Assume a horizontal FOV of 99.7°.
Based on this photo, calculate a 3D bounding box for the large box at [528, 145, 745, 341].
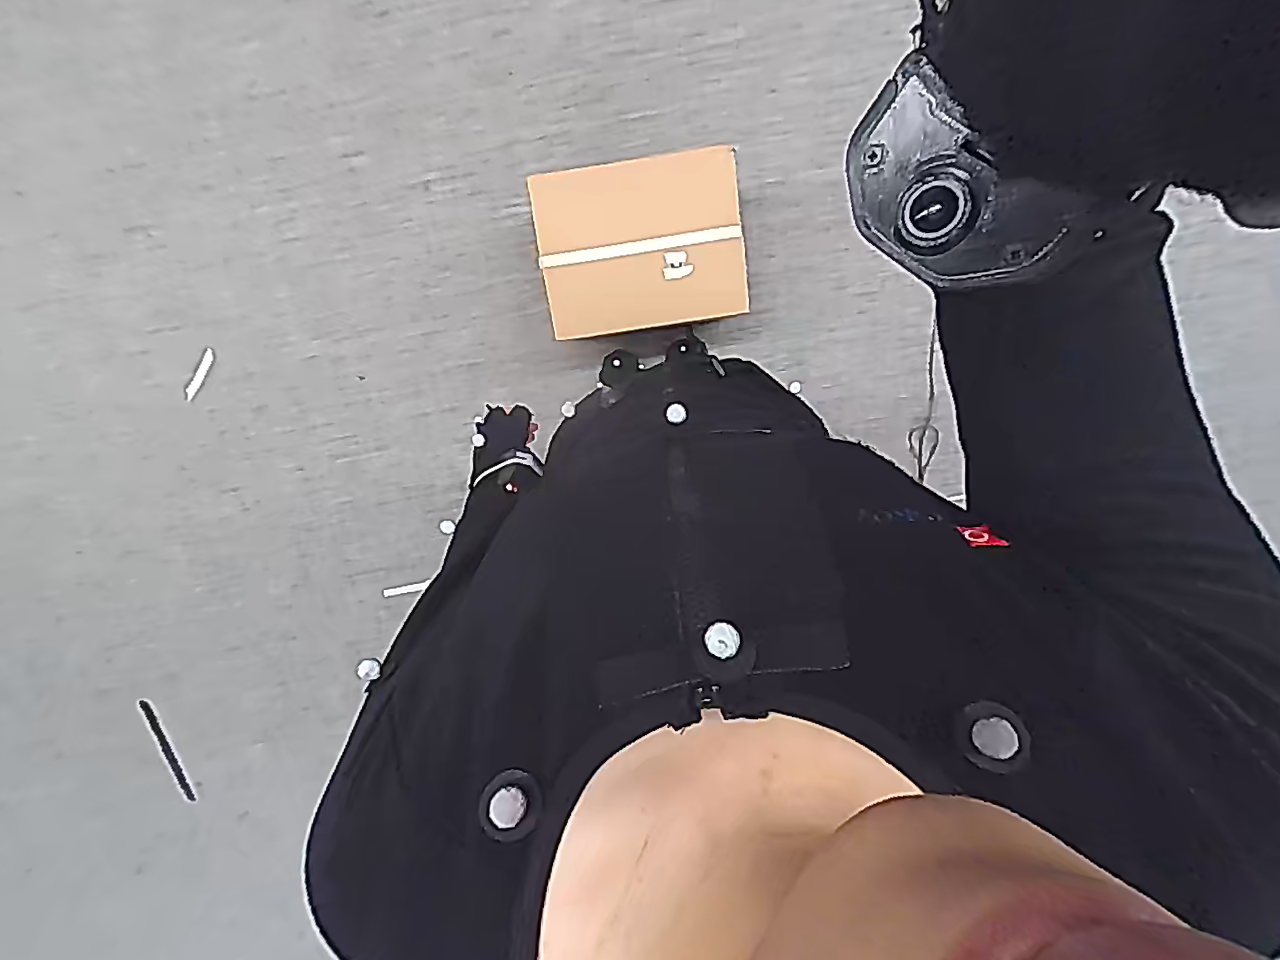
[{"bbox_3d":[-0.005,-0.505,1.228,0.408,0.320,0.320,-9,105,1],"label":"large box"}]
